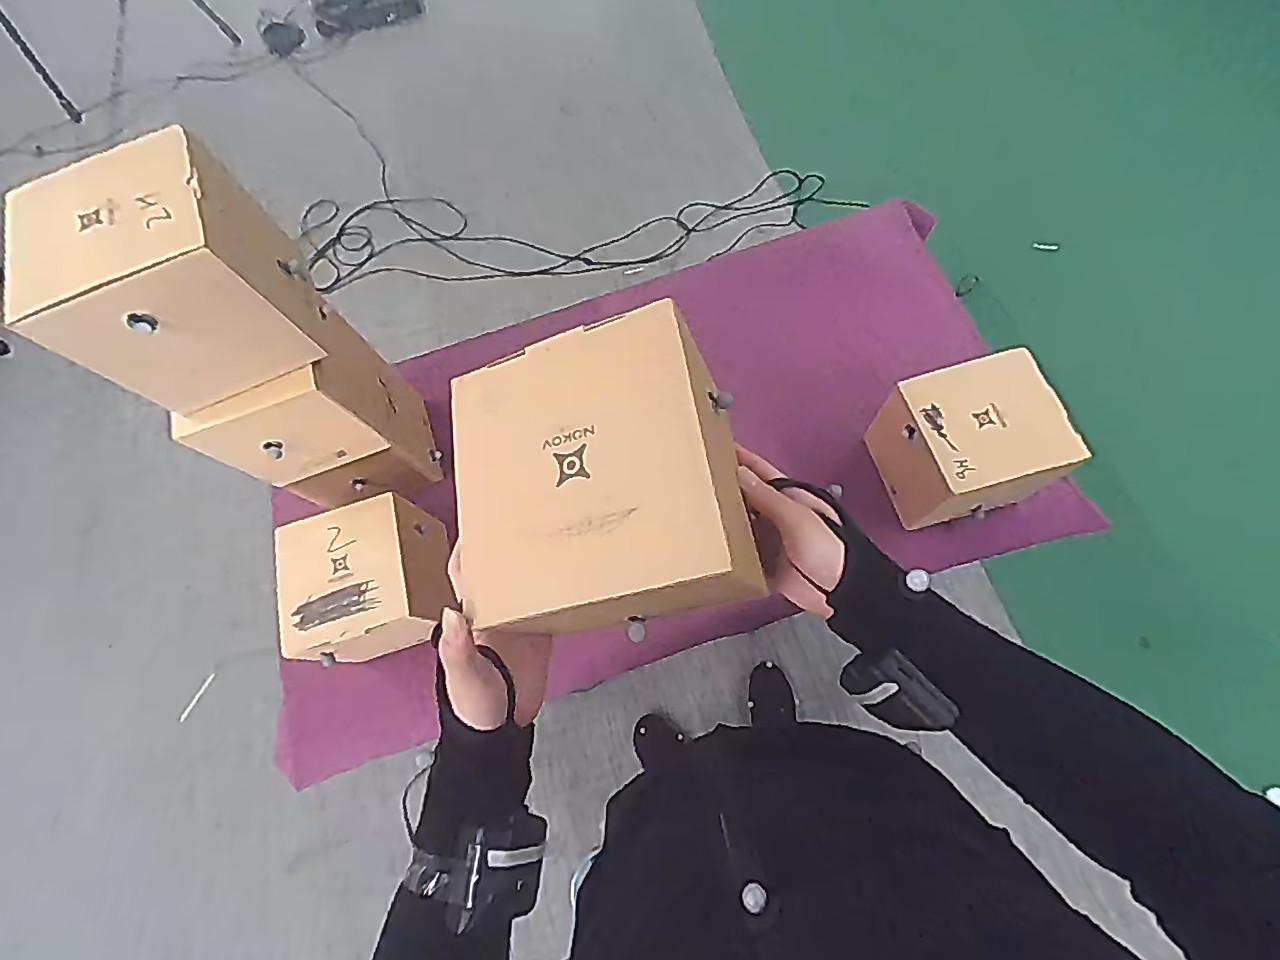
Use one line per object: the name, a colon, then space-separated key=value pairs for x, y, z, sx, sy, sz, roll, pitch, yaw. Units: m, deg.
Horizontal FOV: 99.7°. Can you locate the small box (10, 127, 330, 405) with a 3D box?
small box: x=-0.460 y=-0.203 z=0.551 sx=0.179 sy=0.176 sz=0.168 roll=-23 pitch=70 yaw=-4

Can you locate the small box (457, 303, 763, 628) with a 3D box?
small box: x=-0.014 y=0.008 z=0.403 sx=0.168 sy=0.176 sz=0.179 roll=-15 pitch=70 yaw=15

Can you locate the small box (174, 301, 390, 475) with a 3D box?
small box: x=-0.449 y=-0.121 z=0.696 sx=0.168 sy=0.176 sz=0.179 roll=-20 pitch=69 yaw=-2

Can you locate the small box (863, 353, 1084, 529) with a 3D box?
small box: x=0.444 y=-0.046 z=0.755 sx=0.179 sy=0.176 sz=0.168 roll=-14 pitch=68 yaw=0
